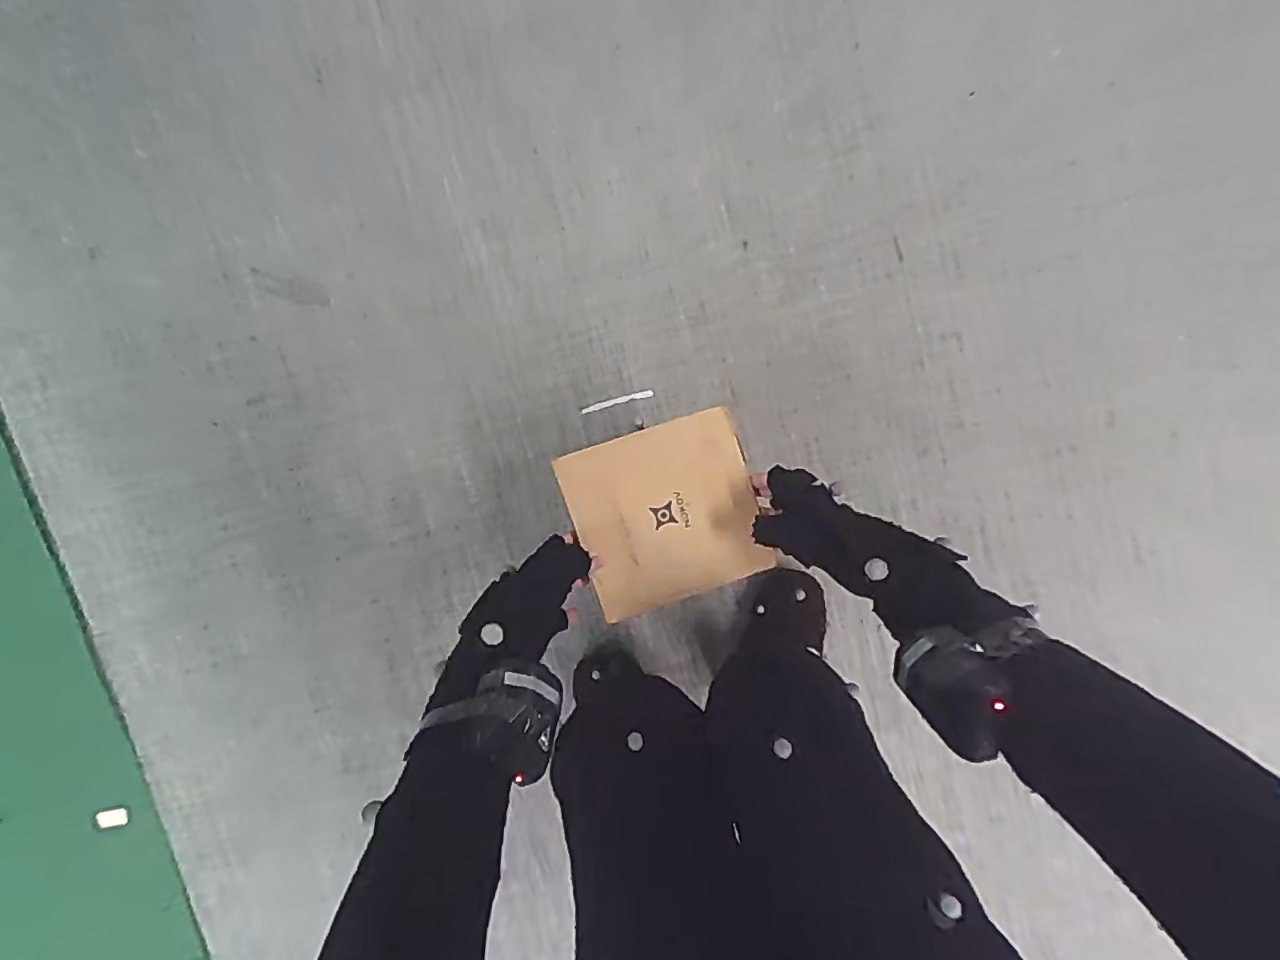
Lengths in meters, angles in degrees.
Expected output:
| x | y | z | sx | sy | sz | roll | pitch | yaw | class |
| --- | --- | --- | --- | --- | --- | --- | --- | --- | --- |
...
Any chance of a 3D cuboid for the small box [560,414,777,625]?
| x | y | z | sx | sy | sz | roll | pitch | yaw | class |
| --- | --- | --- | --- | --- | --- | --- | --- | --- | --- |
| 0.023 | 0.033 | 0.599 | 0.179 | 0.176 | 0.168 | -19 | 94 | -2 | small box |
